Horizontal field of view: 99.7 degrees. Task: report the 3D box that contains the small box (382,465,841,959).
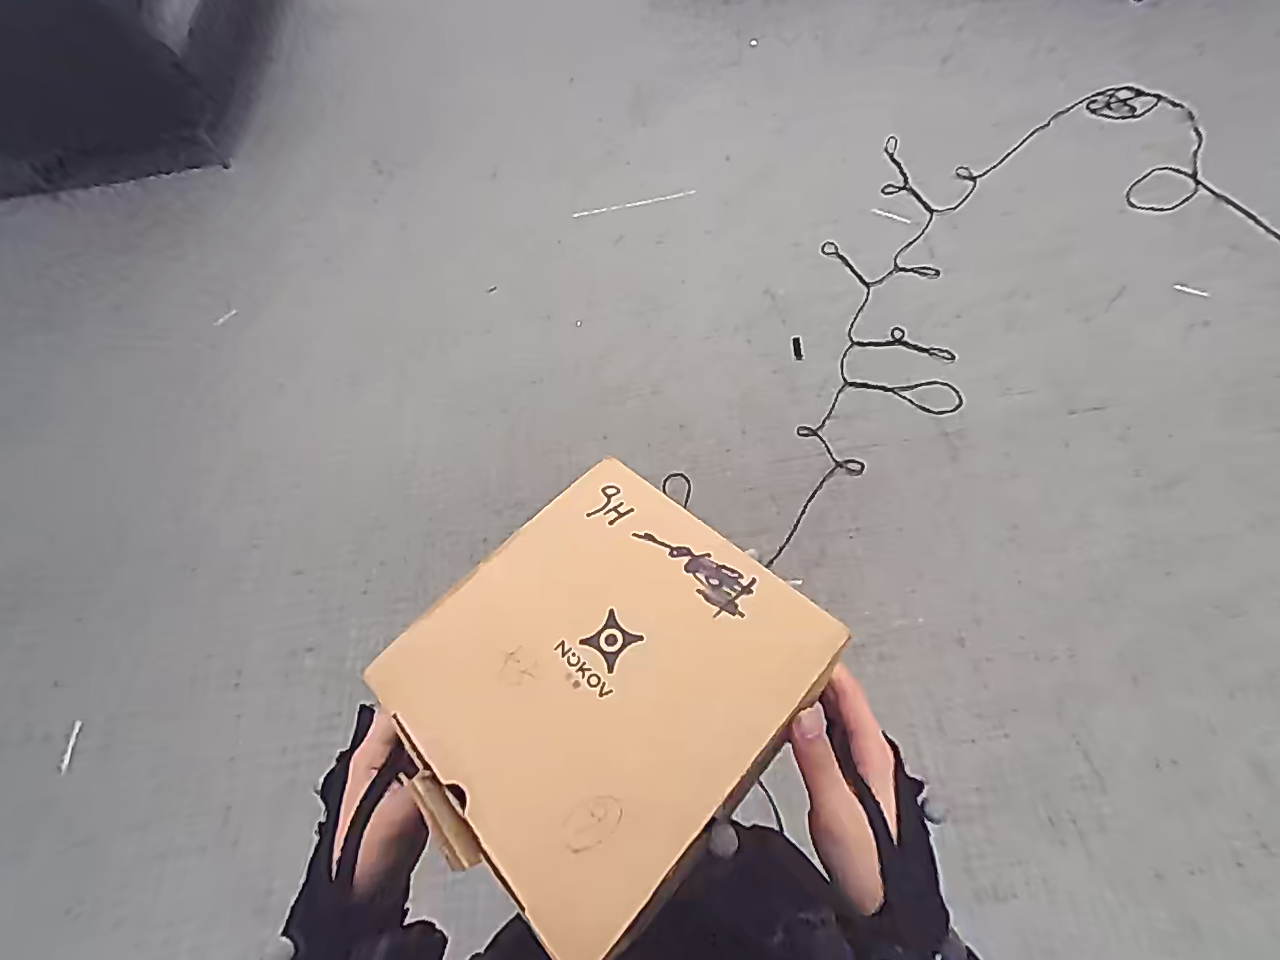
[{"bbox_3d":[-0.006,0.131,0.330,0.168,0.176,0.179,35,68,28],"label":"small box"}]
